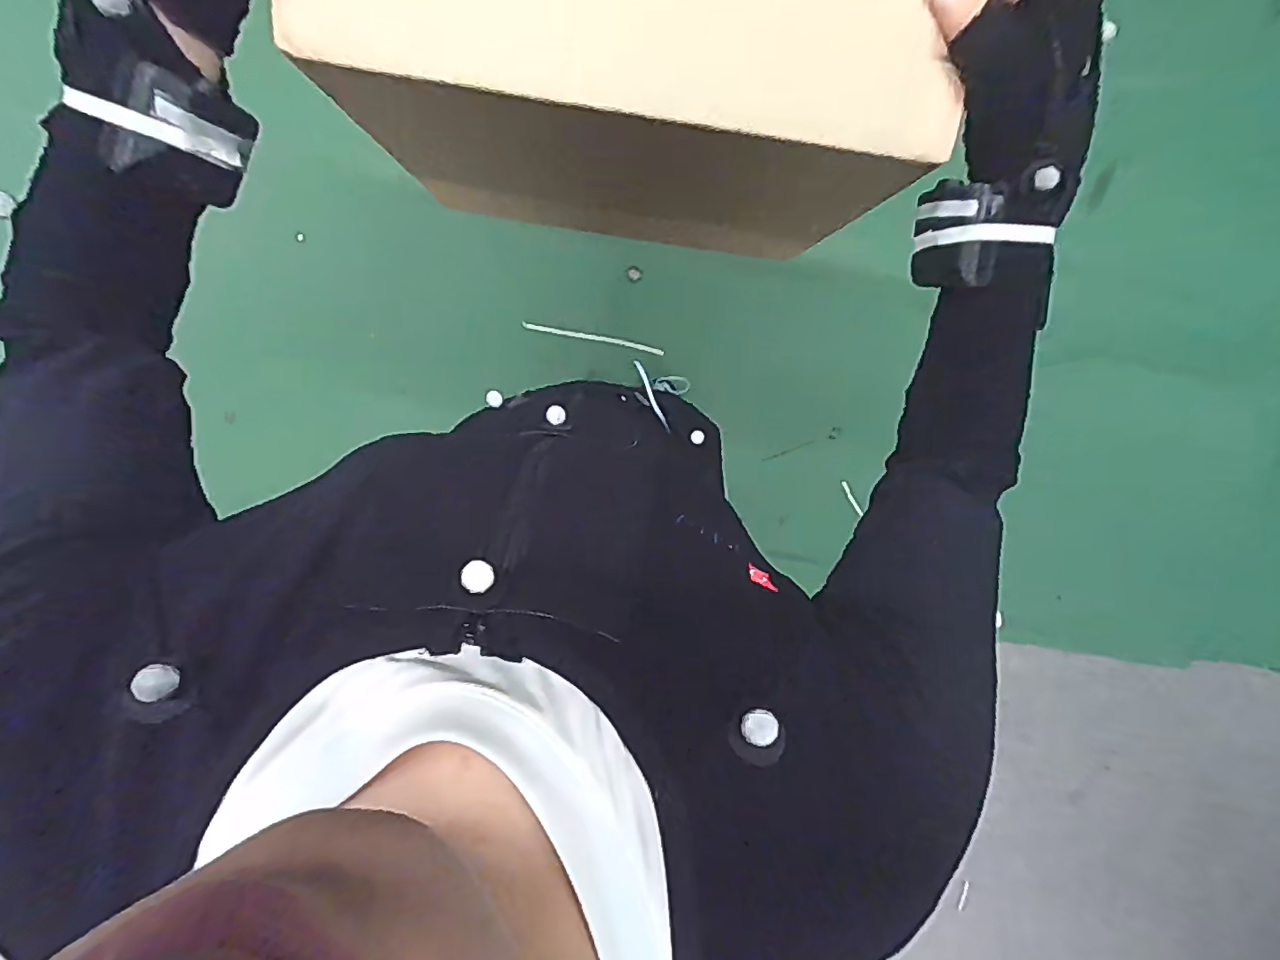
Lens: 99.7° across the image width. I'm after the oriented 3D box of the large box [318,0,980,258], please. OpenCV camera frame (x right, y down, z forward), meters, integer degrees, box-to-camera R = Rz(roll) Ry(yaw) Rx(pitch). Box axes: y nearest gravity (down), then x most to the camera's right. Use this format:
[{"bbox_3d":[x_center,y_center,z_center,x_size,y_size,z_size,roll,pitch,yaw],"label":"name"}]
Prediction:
[{"bbox_3d":[0.011,-0.403,0.455,0.408,0.320,0.320,7,101,-5],"label":"large box"}]
